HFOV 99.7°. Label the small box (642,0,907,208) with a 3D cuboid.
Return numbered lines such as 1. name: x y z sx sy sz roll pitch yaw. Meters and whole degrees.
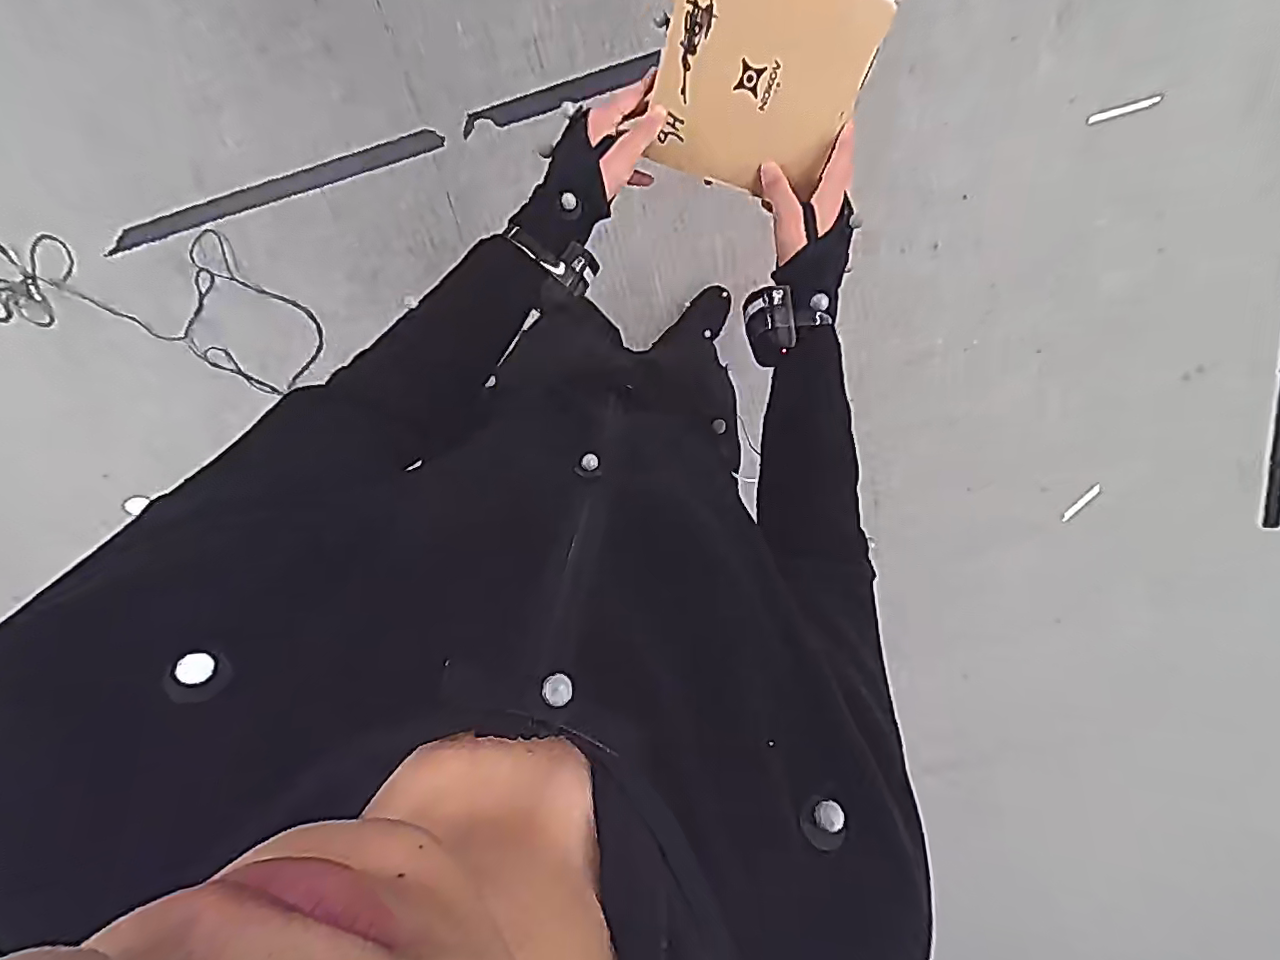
1. small box: 0.109 -0.393 0.522 0.179 0.176 0.168 14 127 -9
